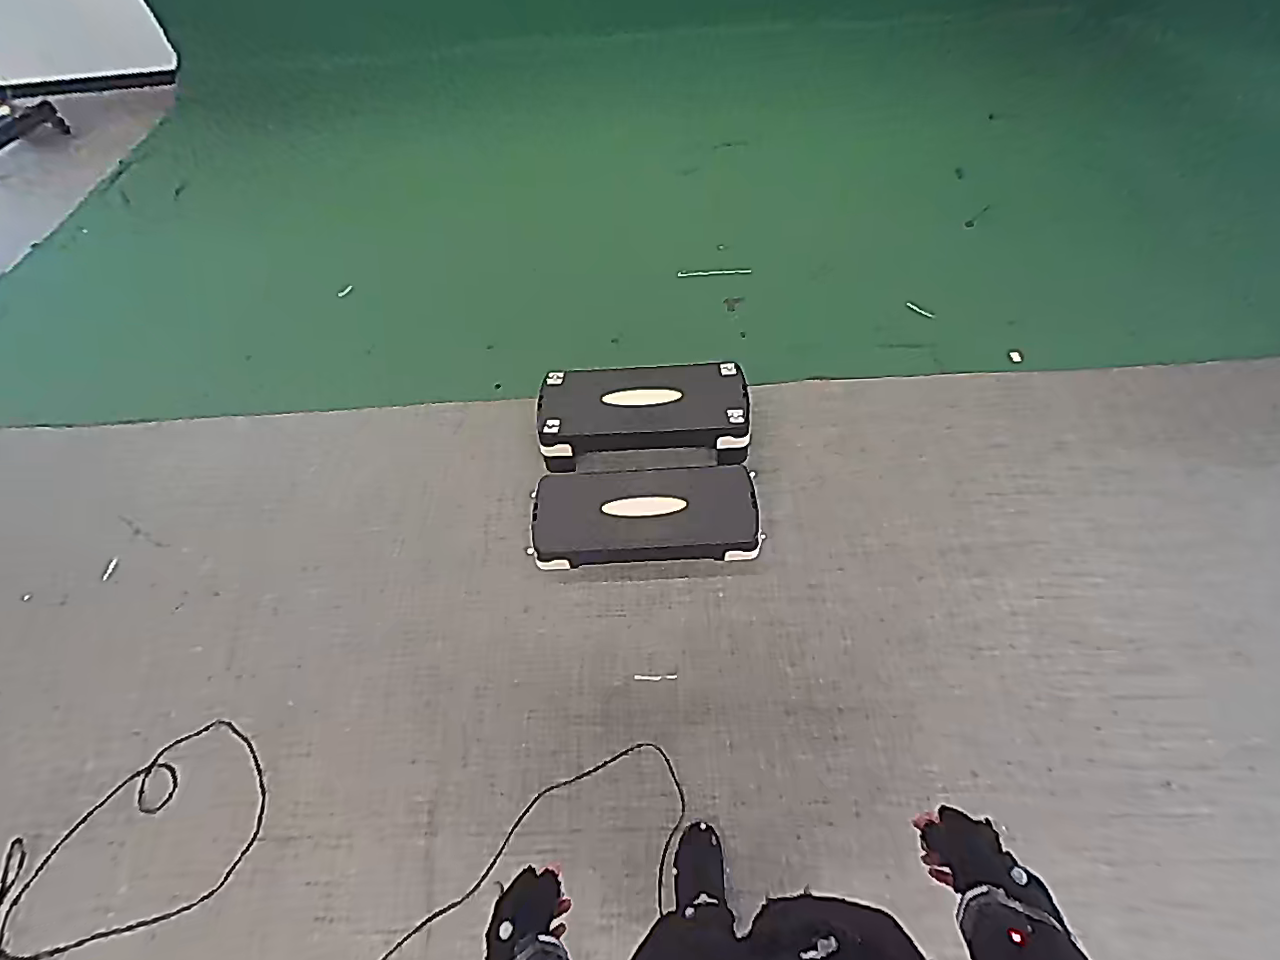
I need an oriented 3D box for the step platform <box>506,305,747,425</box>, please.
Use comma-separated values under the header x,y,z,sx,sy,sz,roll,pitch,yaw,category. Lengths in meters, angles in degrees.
x,y,z,sx,sy,sz,roll,pitch,yaw,category
-0.036,-0.337,1.608,0.684,0.204,0.286,-3,57,2,step platform
